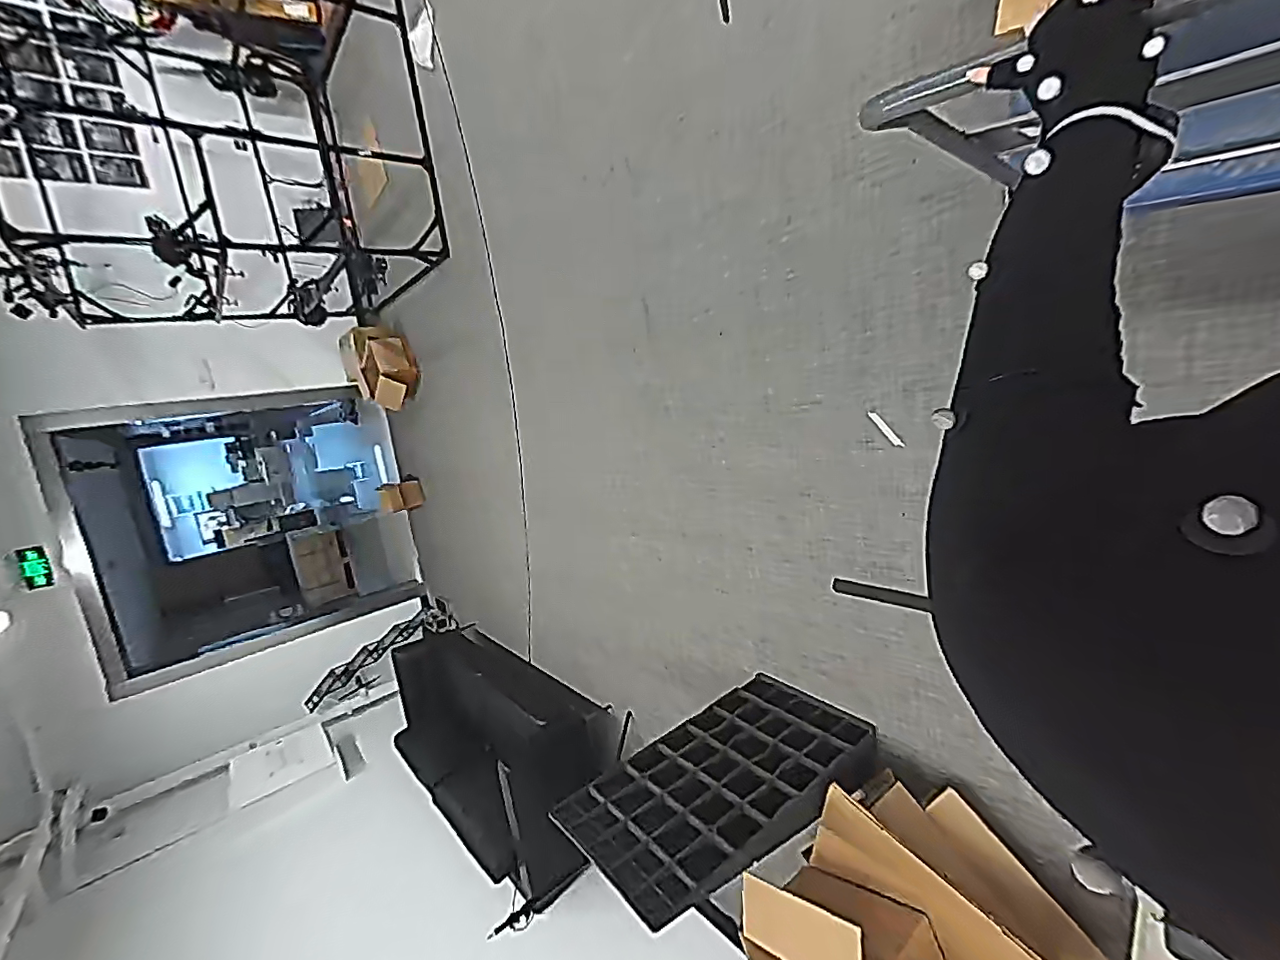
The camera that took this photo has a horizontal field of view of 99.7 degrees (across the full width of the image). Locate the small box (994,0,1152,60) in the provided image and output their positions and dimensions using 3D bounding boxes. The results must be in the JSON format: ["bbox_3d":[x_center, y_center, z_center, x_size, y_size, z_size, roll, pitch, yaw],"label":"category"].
[{"bbox_3d":[0.713,-0.823,0.876,0.179,0.176,0.168,18,115,46],"label":"small box"}]
